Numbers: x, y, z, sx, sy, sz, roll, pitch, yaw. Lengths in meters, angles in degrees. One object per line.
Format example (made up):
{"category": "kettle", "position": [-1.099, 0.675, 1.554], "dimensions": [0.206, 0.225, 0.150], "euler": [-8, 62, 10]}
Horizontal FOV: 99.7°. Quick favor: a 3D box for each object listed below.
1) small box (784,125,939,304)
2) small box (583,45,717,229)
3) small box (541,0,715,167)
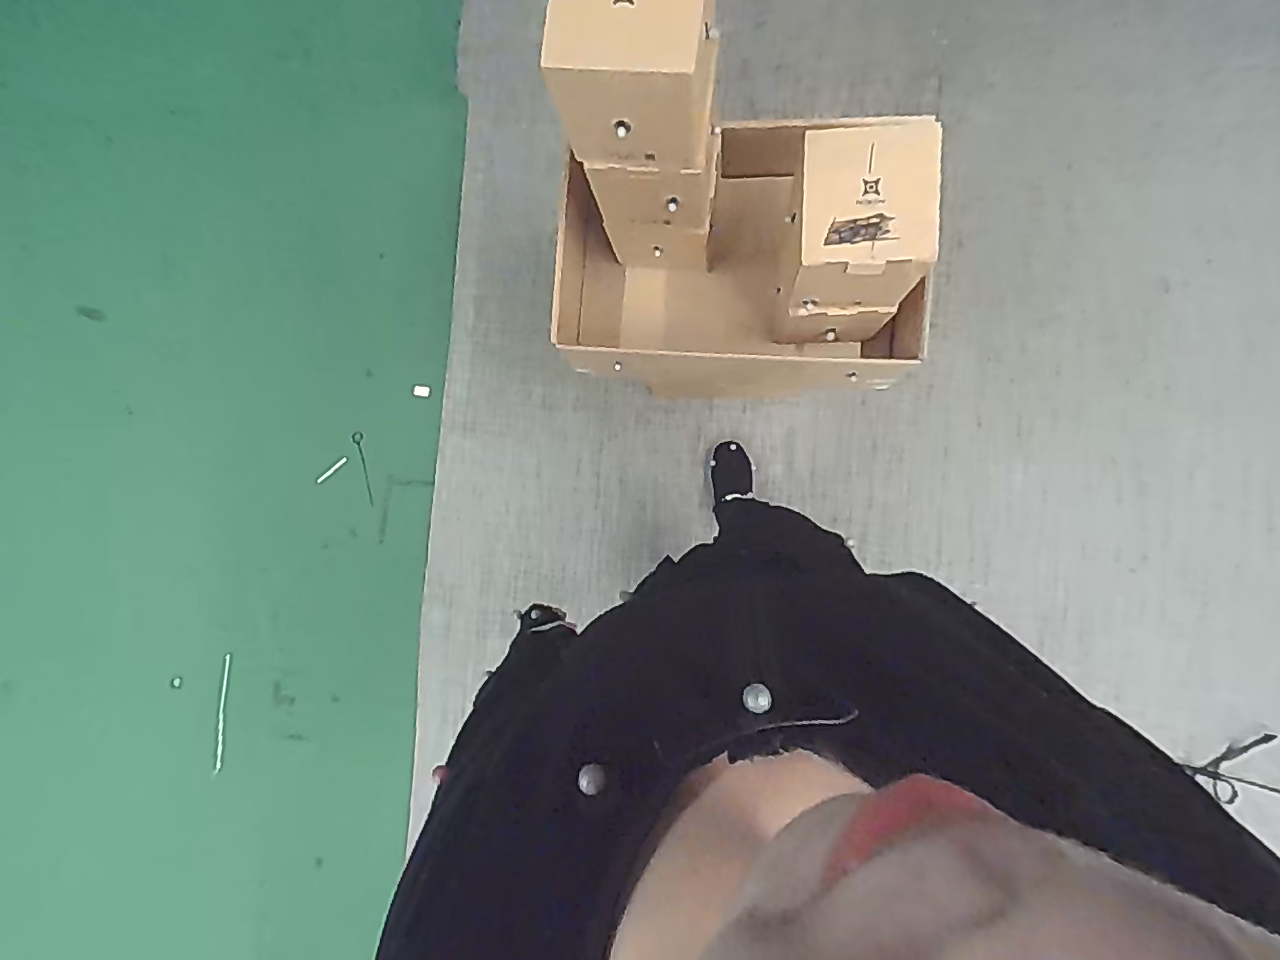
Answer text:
{"category": "small box", "position": [0.297, -0.355, 0.758], "dimensions": [0.168, 0.176, 0.179], "euler": [2, 89, 8]}
{"category": "small box", "position": [0.023, -0.497, 0.803], "dimensions": [0.168, 0.176, 0.179], "euler": [7, 89, 7]}
{"category": "small box", "position": [-0.004, -0.505, 0.641], "dimensions": [0.168, 0.176, 0.179], "euler": [9, 90, 6]}
